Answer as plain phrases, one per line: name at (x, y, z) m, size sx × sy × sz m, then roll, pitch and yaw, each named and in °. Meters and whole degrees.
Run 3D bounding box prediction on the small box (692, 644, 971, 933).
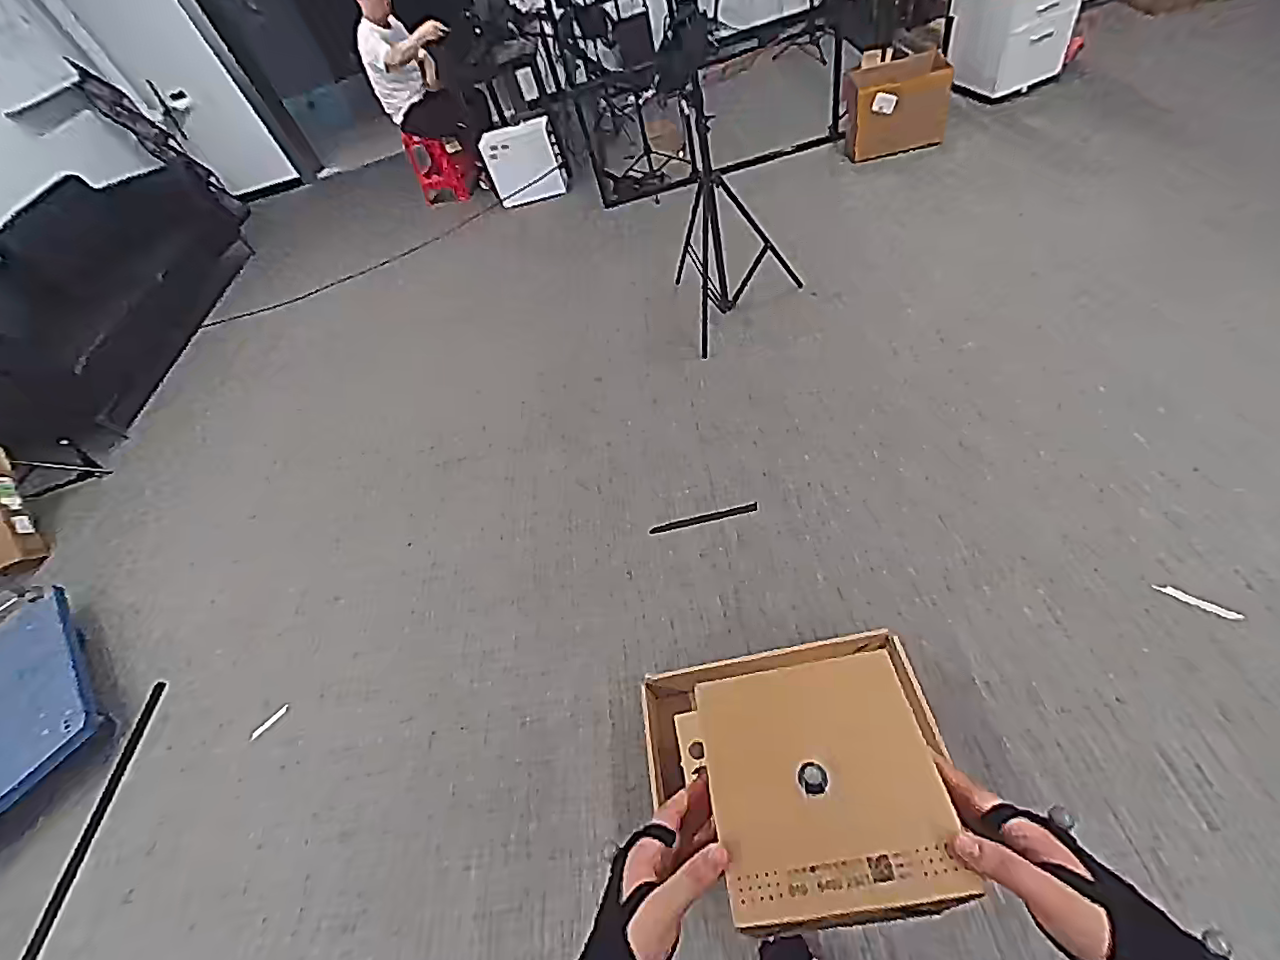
small box at (0.151, 0.269, 0.465) m, size 0.168 × 0.179 × 0.176 m, roll -13°, pitch 47°, yaw 7°
